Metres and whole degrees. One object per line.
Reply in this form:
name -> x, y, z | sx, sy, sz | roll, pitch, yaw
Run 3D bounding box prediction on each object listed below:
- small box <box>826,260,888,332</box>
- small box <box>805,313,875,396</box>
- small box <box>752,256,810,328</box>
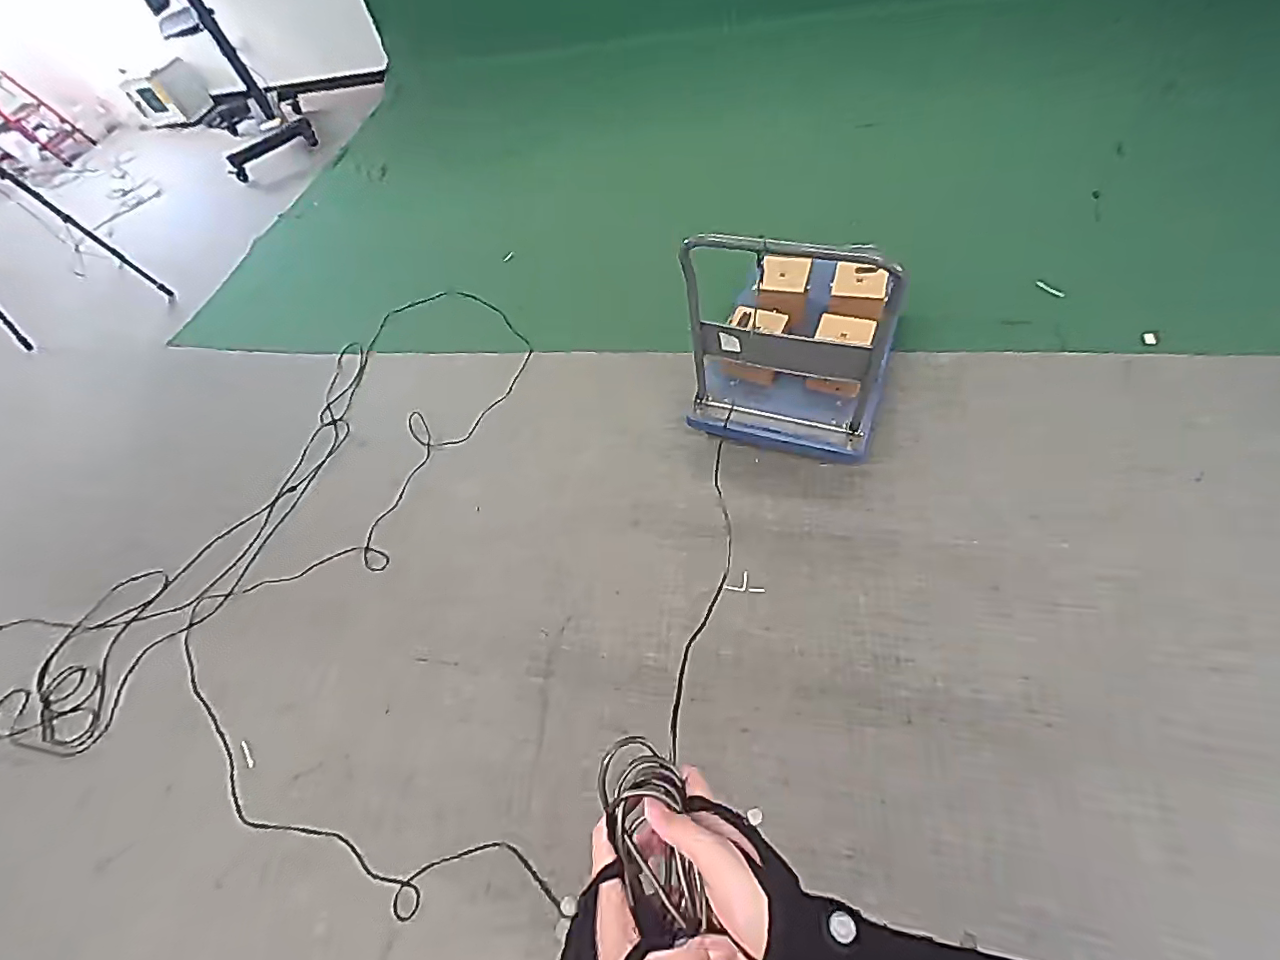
small box -> 0.736, -0.622, 1.851 | 0.168, 0.176, 0.179 | 11, 62, 19
small box -> 0.636, -0.401, 1.733 | 0.168, 0.176, 0.179 | 16, 63, 20
small box -> 0.501, -0.668, 1.928 | 0.168, 0.176, 0.179 | 12, 61, 17
